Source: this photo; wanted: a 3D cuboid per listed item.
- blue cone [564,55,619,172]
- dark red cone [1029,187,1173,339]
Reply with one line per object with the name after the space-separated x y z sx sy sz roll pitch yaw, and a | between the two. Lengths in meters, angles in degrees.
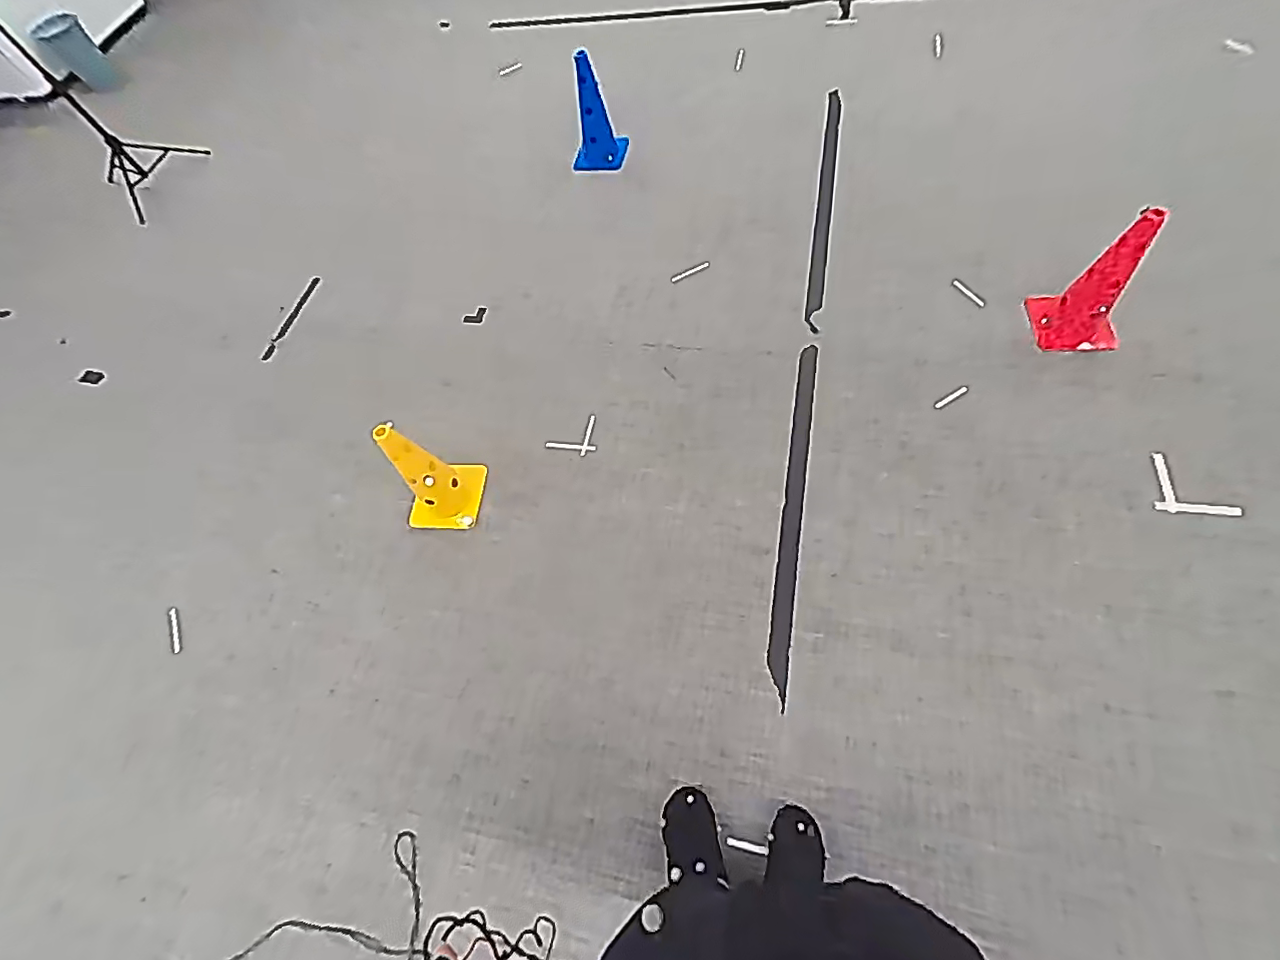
-0.210 -1.384 2.039 0.192 0.380 0.193 7 64 14 | blue cone
1.182 -0.549 1.358 0.201 0.394 0.202 -1 63 10 | dark red cone
